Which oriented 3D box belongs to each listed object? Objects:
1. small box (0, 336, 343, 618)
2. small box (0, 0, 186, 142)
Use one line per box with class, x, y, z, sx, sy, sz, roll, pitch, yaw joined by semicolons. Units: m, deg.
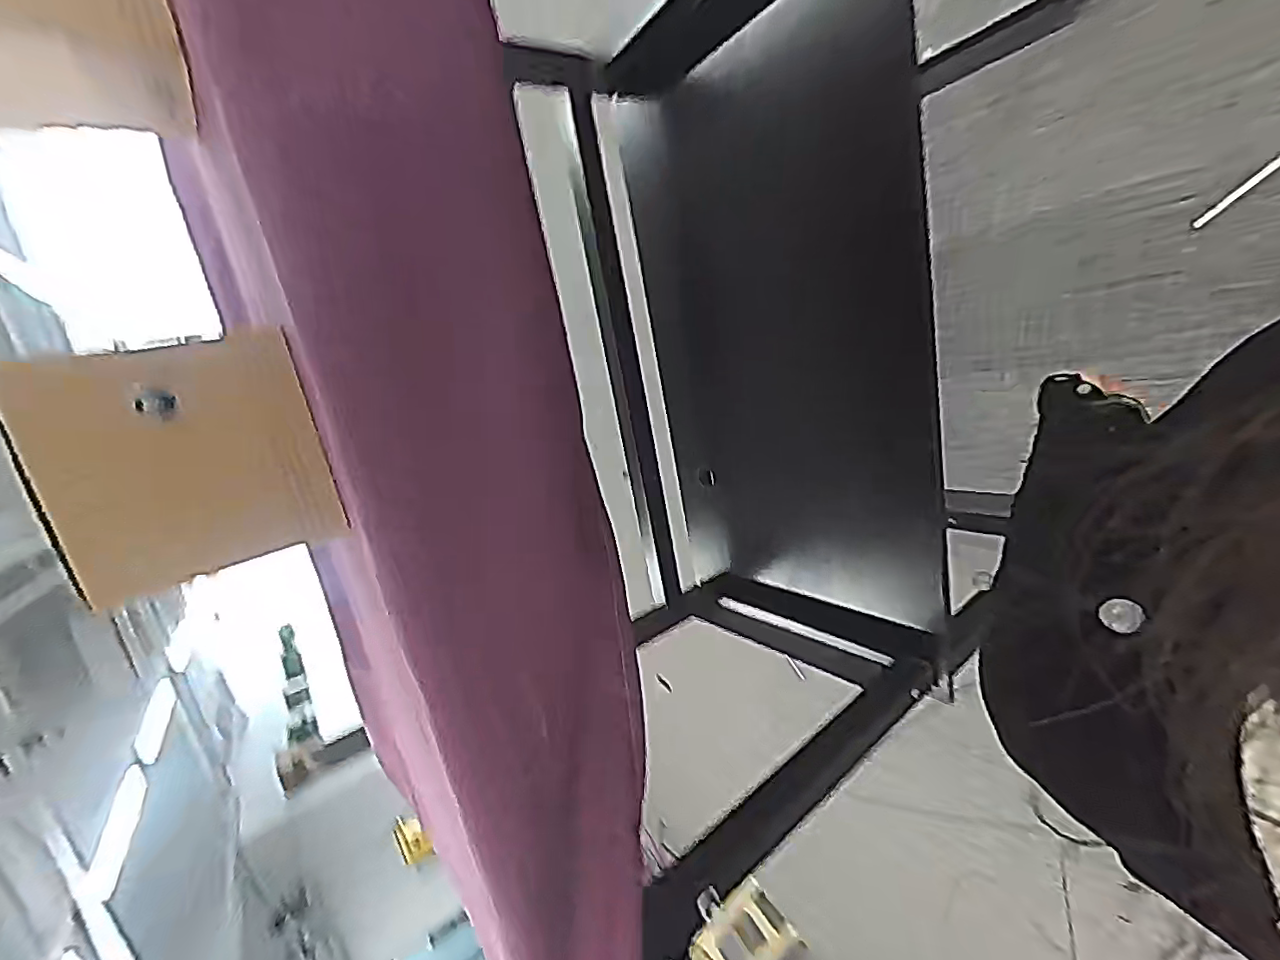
small box;-0.373;-0.018;0.451;0.168;0.176;0.179;8;114;54
small box;-0.443;-0.356;0.365;0.168;0.176;0.179;11;116;54
